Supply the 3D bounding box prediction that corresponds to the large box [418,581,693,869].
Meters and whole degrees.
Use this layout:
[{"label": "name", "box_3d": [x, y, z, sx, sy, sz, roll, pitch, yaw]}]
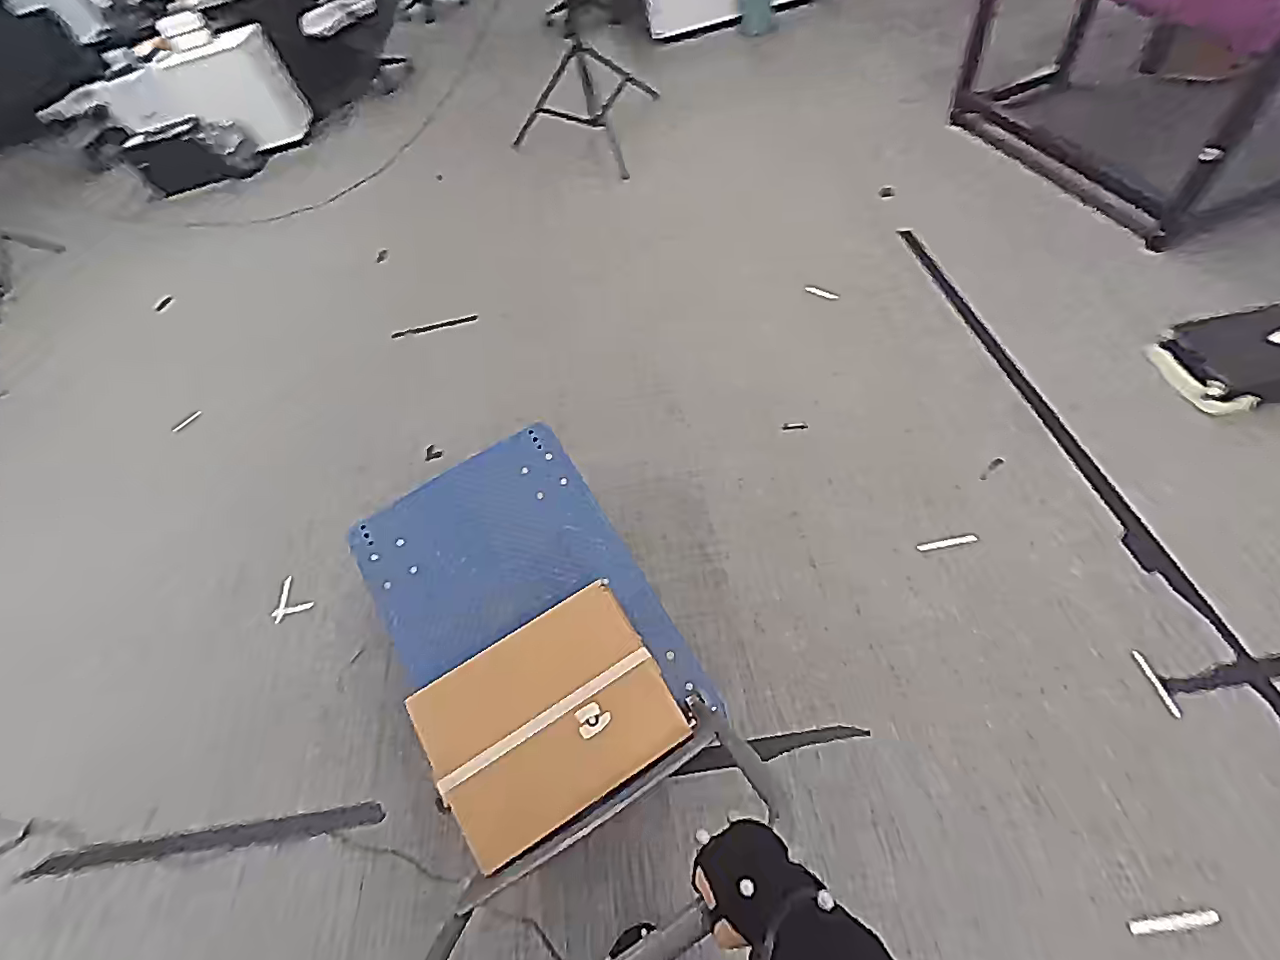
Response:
[{"label": "large box", "box_3d": [-0.152, 0.463, 1.093, 0.408, 0.320, 0.320, -31, 75, -10]}]
